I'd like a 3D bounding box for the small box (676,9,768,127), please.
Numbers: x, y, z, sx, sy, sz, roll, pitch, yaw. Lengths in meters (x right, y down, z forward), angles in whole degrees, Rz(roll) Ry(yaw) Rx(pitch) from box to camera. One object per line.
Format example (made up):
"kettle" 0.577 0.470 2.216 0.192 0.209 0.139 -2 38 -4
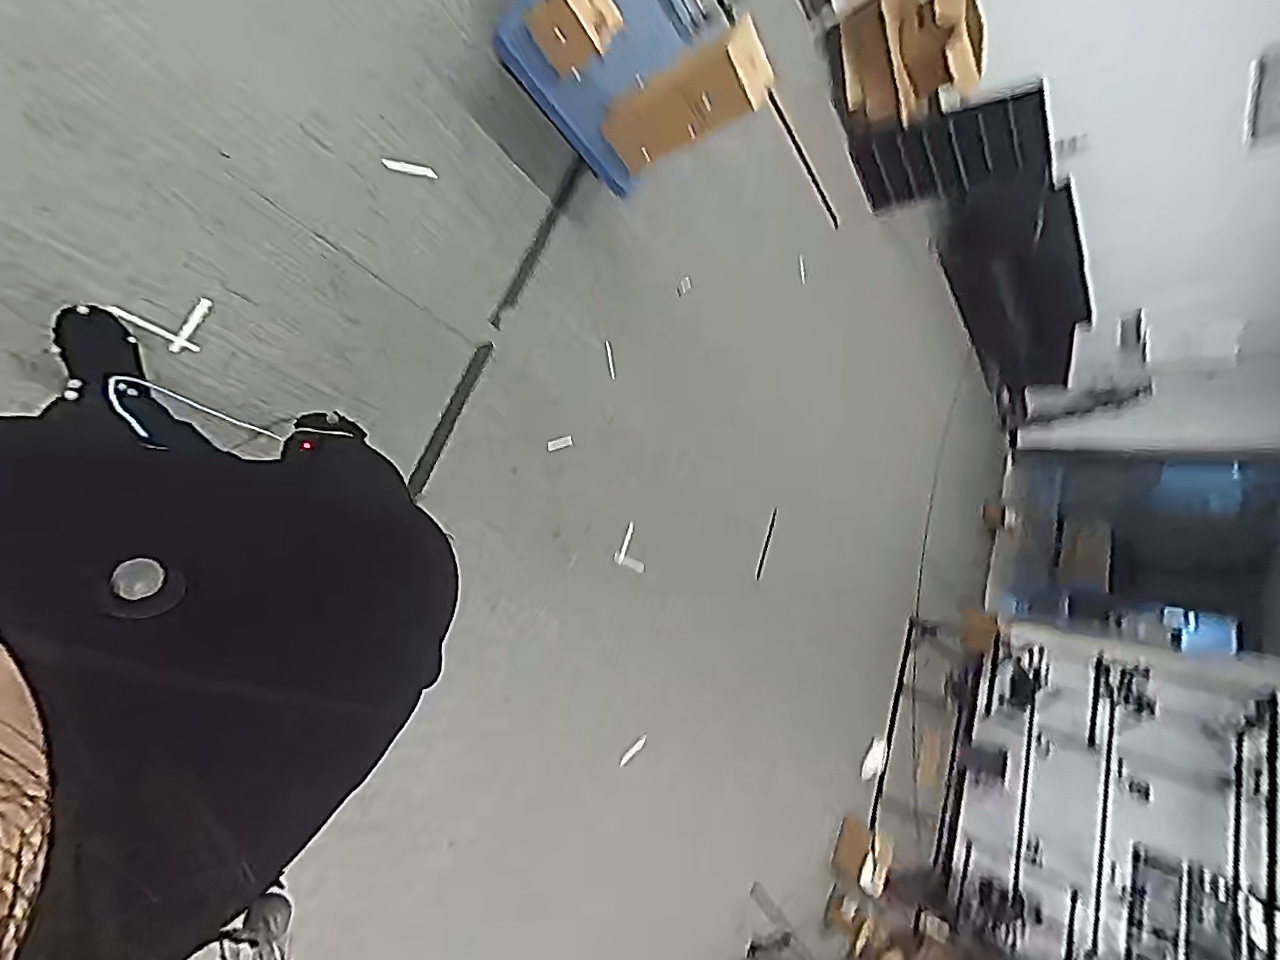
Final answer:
"small box" 0.224 -1.131 1.494 0.168 0.176 0.179 42 63 -39

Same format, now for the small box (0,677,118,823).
"small box" -1.110 0.482 0.983 0.168 0.176 0.179 41 65 -38

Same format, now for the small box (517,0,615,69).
"small box" -0.207 -1.301 1.512 0.179 0.176 0.168 39 65 -39

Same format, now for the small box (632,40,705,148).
"small box" 0.104 -1.135 1.607 0.179 0.176 0.168 41 64 -40
